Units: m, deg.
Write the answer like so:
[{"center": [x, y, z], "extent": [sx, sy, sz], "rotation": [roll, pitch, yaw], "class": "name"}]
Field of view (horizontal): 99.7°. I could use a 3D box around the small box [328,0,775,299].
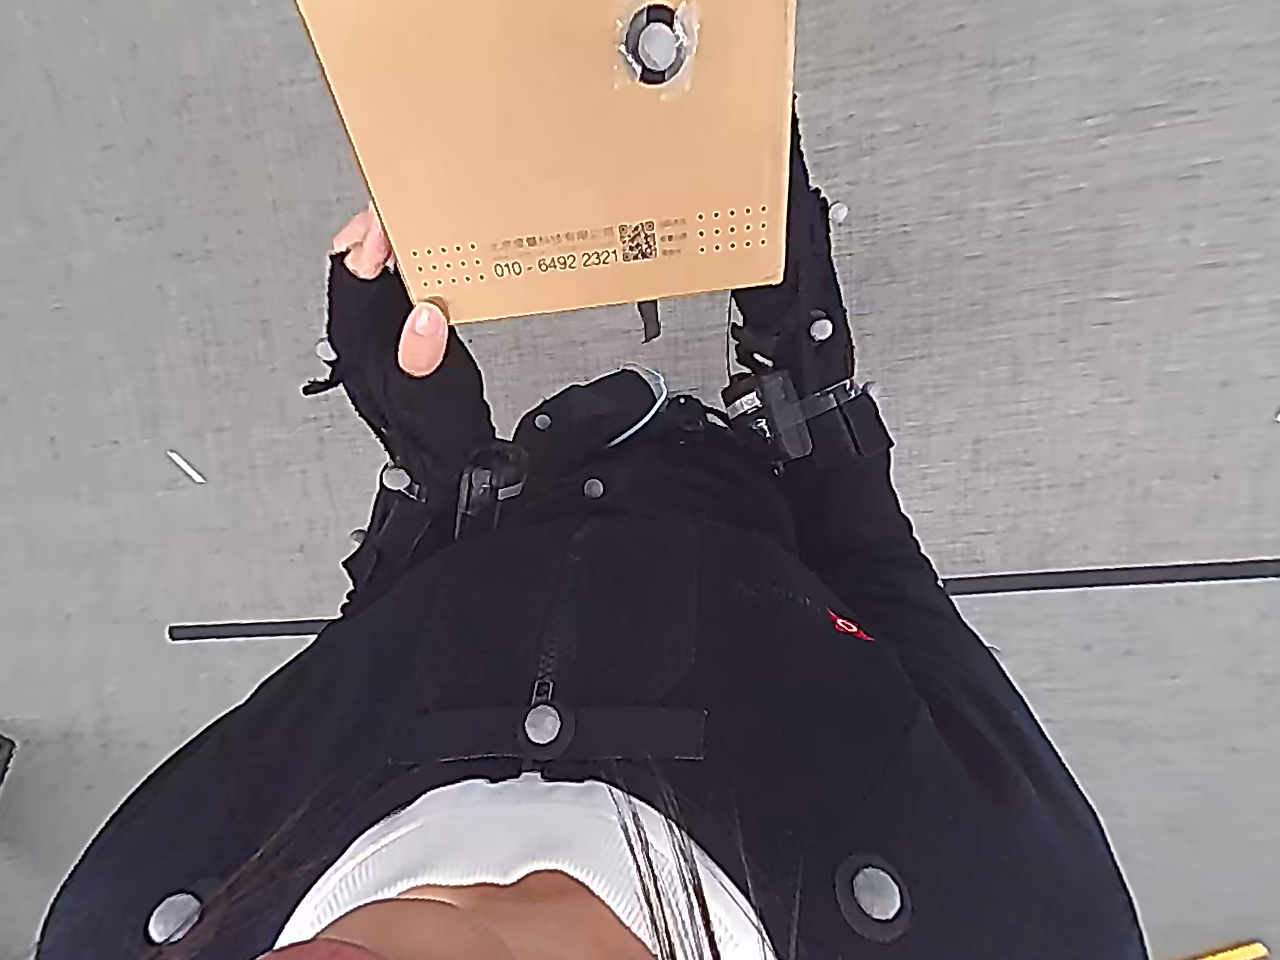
[{"center": [-0.026, -0.200, 0.275], "extent": [0.168, 0.179, 0.176], "rotation": [-5, 128, 5], "class": "small box"}]
